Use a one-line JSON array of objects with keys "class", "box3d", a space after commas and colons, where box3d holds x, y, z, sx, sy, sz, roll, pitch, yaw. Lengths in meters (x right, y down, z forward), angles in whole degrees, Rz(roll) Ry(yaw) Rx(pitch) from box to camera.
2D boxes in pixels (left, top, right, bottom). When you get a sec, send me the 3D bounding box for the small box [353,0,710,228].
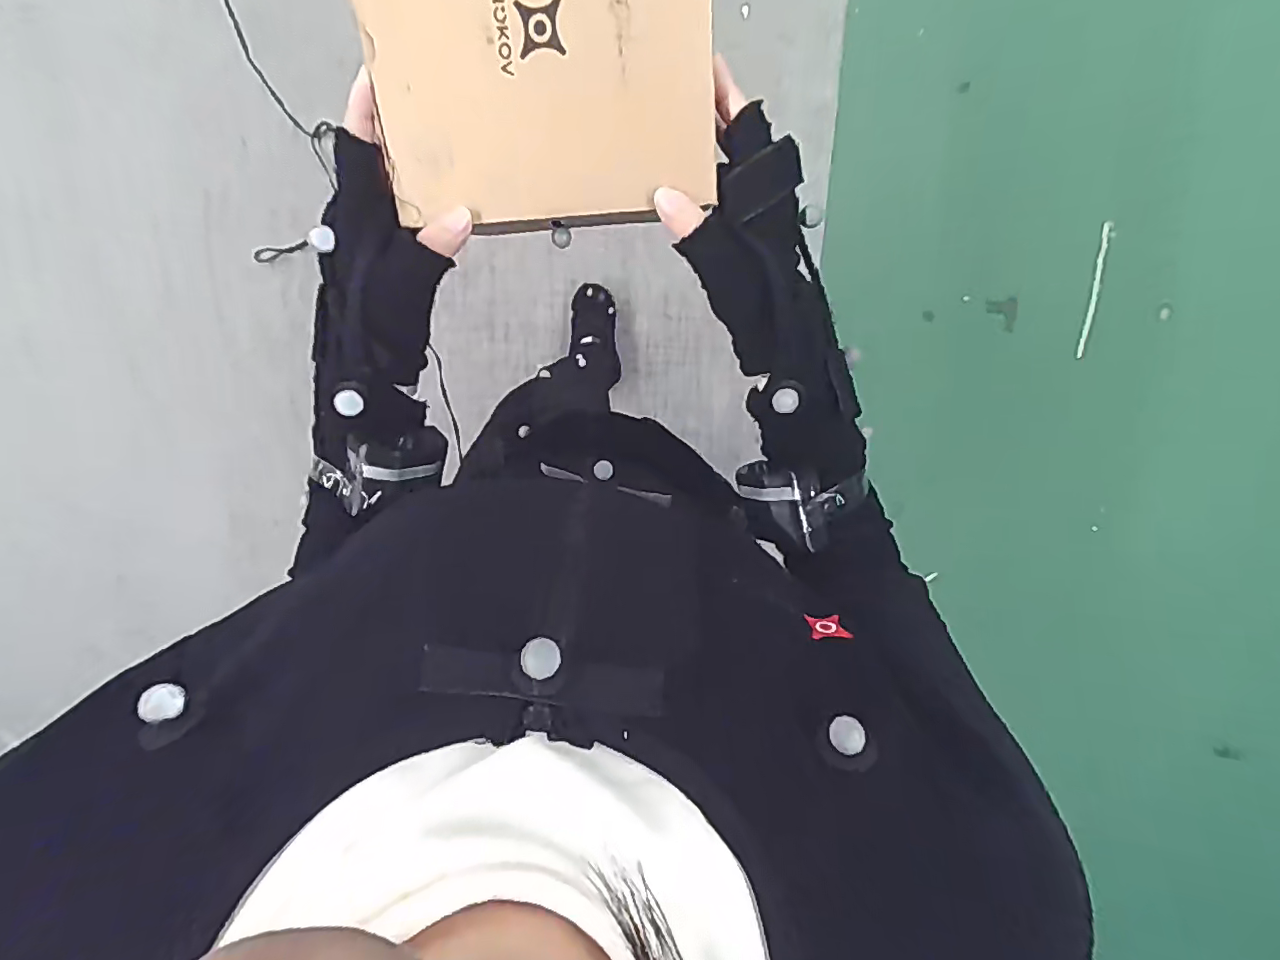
[{"class": "small box", "box3d": [-0.050, -0.254, 0.337, 0.179, 0.176, 0.168, -3, 114, 4]}]
